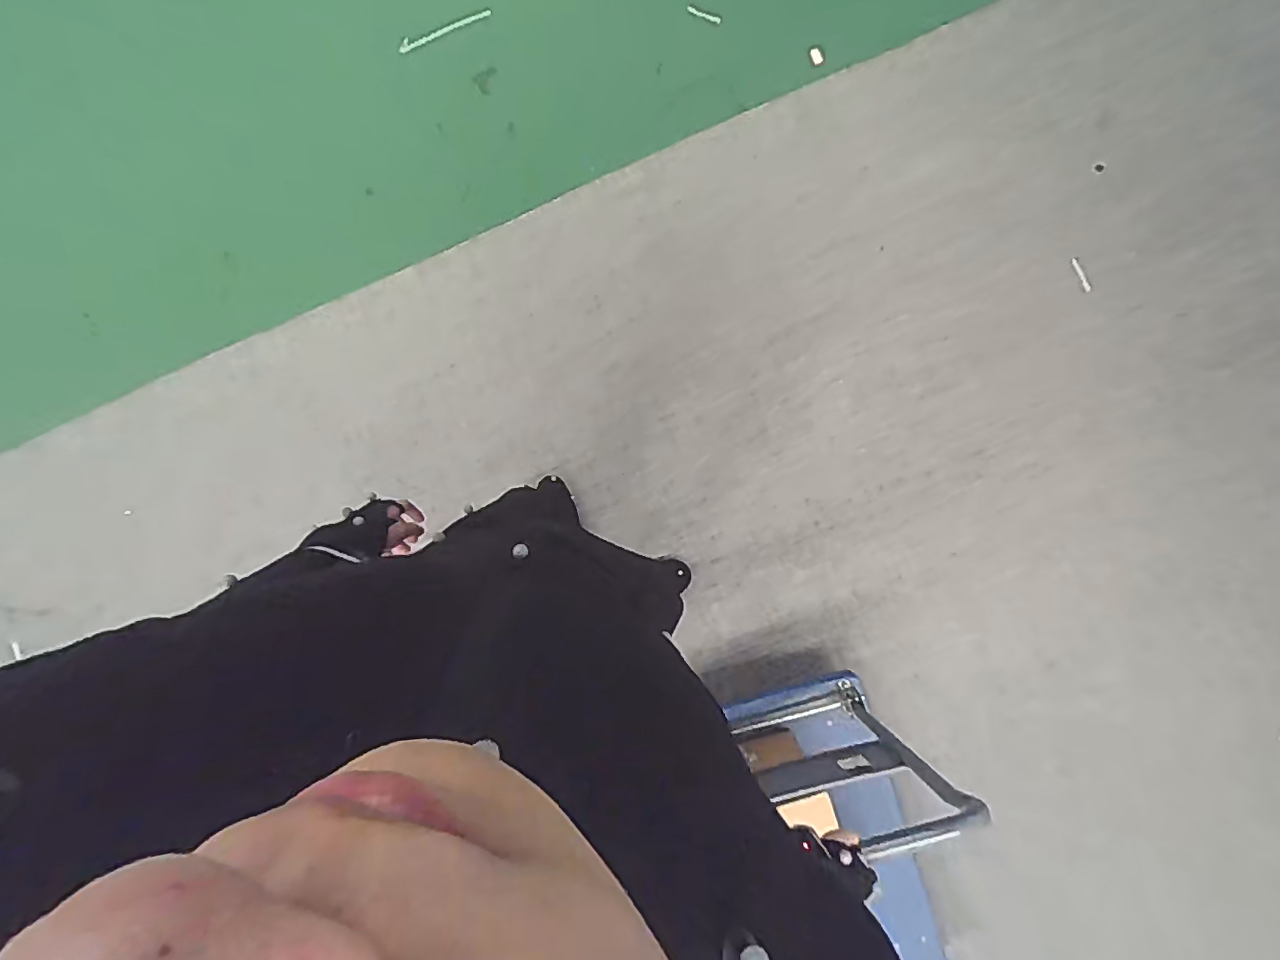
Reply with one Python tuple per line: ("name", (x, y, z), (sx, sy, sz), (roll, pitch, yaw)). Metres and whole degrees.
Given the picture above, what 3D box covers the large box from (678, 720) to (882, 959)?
("large box", (0.299, 0.857, 1.273), (0.320, 0.320, 0.408), (-17, 88, 1))
